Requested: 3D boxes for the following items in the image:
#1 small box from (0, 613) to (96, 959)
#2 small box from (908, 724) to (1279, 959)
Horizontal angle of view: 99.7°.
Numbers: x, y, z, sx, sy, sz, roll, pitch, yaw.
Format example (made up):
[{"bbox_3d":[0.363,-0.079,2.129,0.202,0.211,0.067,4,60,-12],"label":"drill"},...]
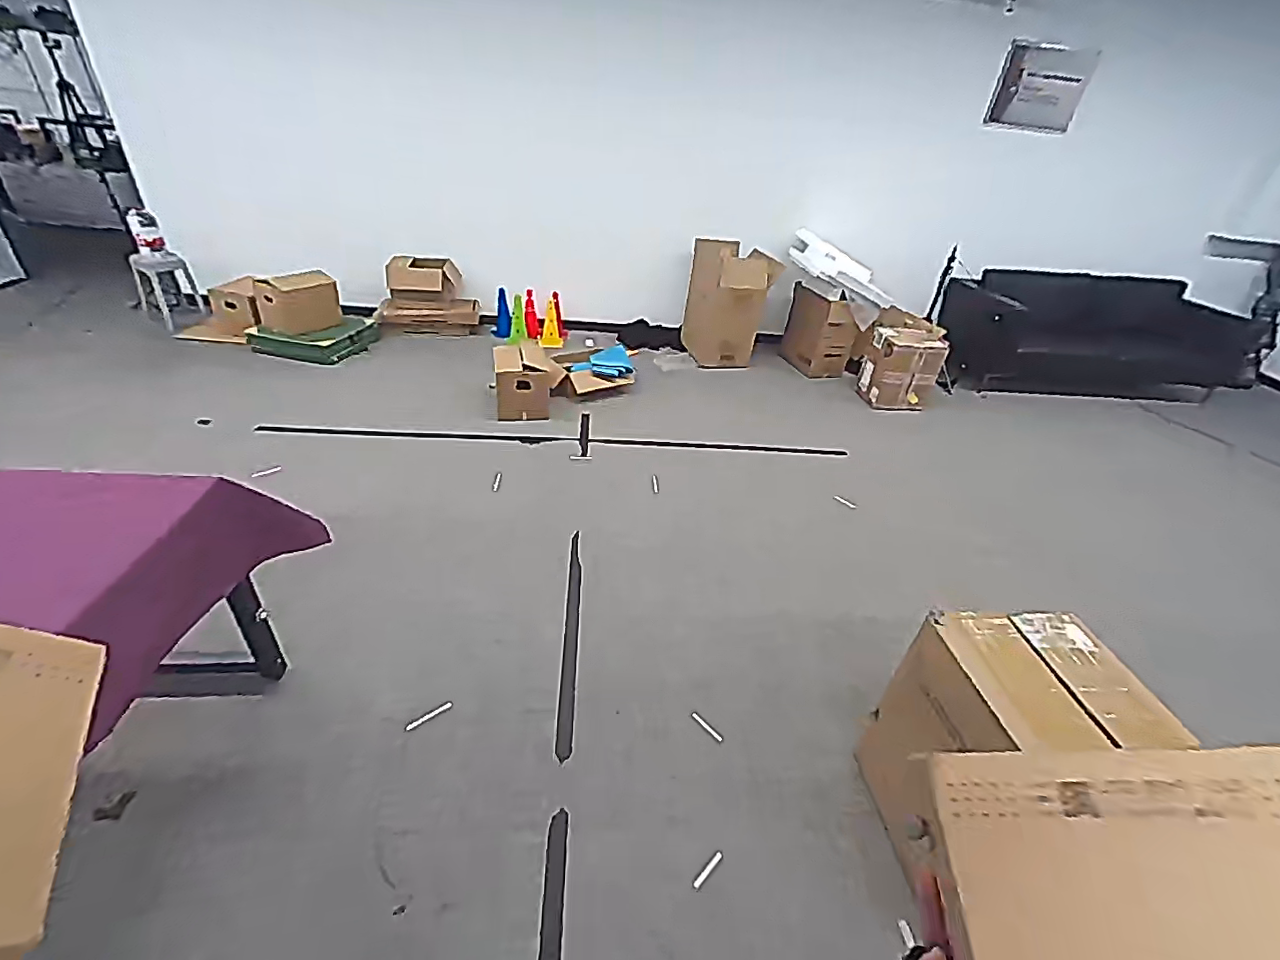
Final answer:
[{"bbox_3d":[-0.402,0.169,0.242,0.179,0.168,0.176,-44,49,5],"label":"small box"},{"bbox_3d":[0.254,0.225,0.288,0.168,0.179,0.176,-12,61,18],"label":"small box"}]
